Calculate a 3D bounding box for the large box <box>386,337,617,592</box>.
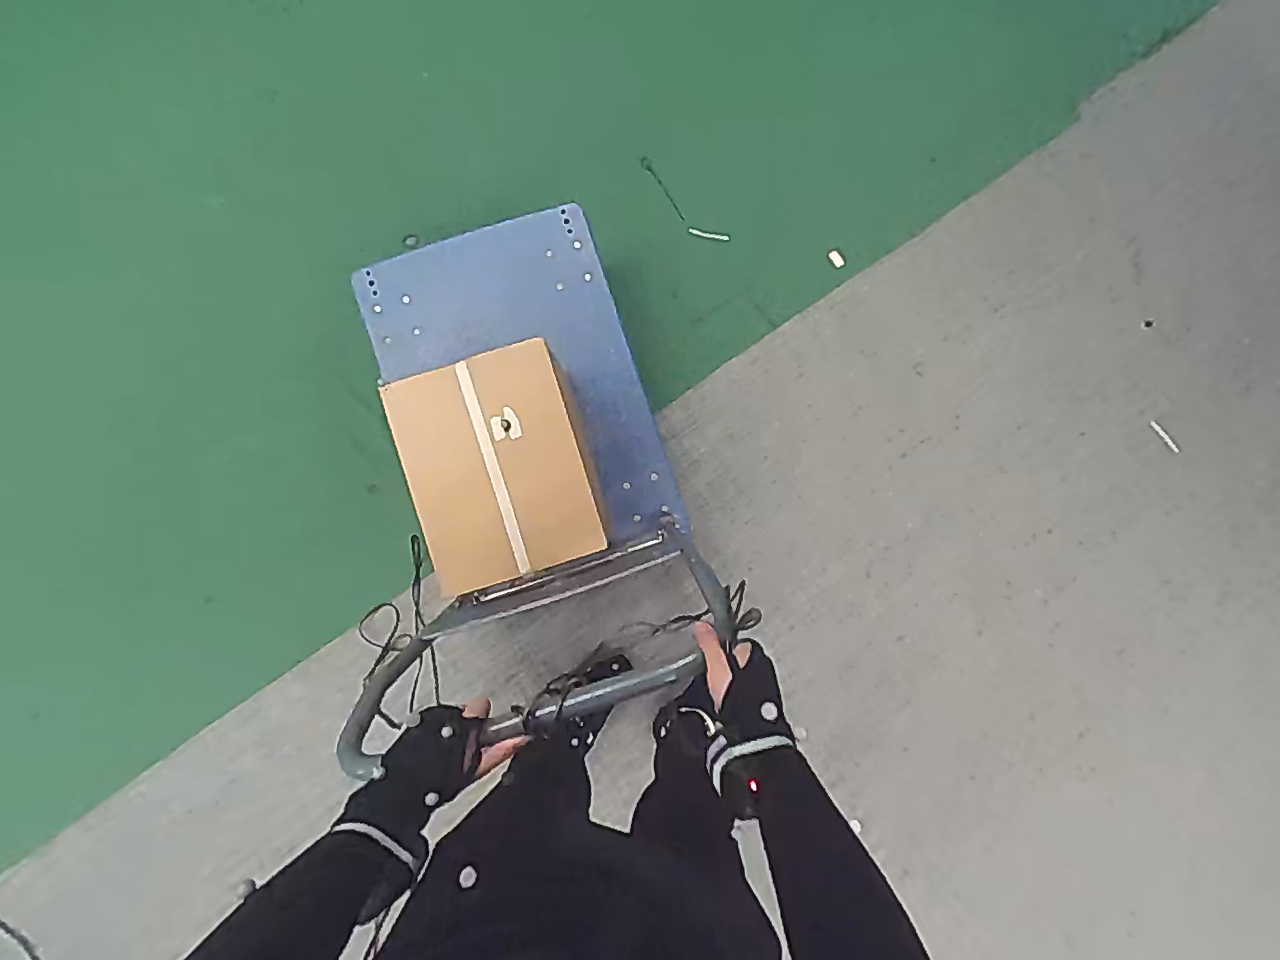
[{"bbox_3d":[-0.257,-0.025,1.130,0.320,0.320,0.408,-18,89,-1],"label":"large box"}]
